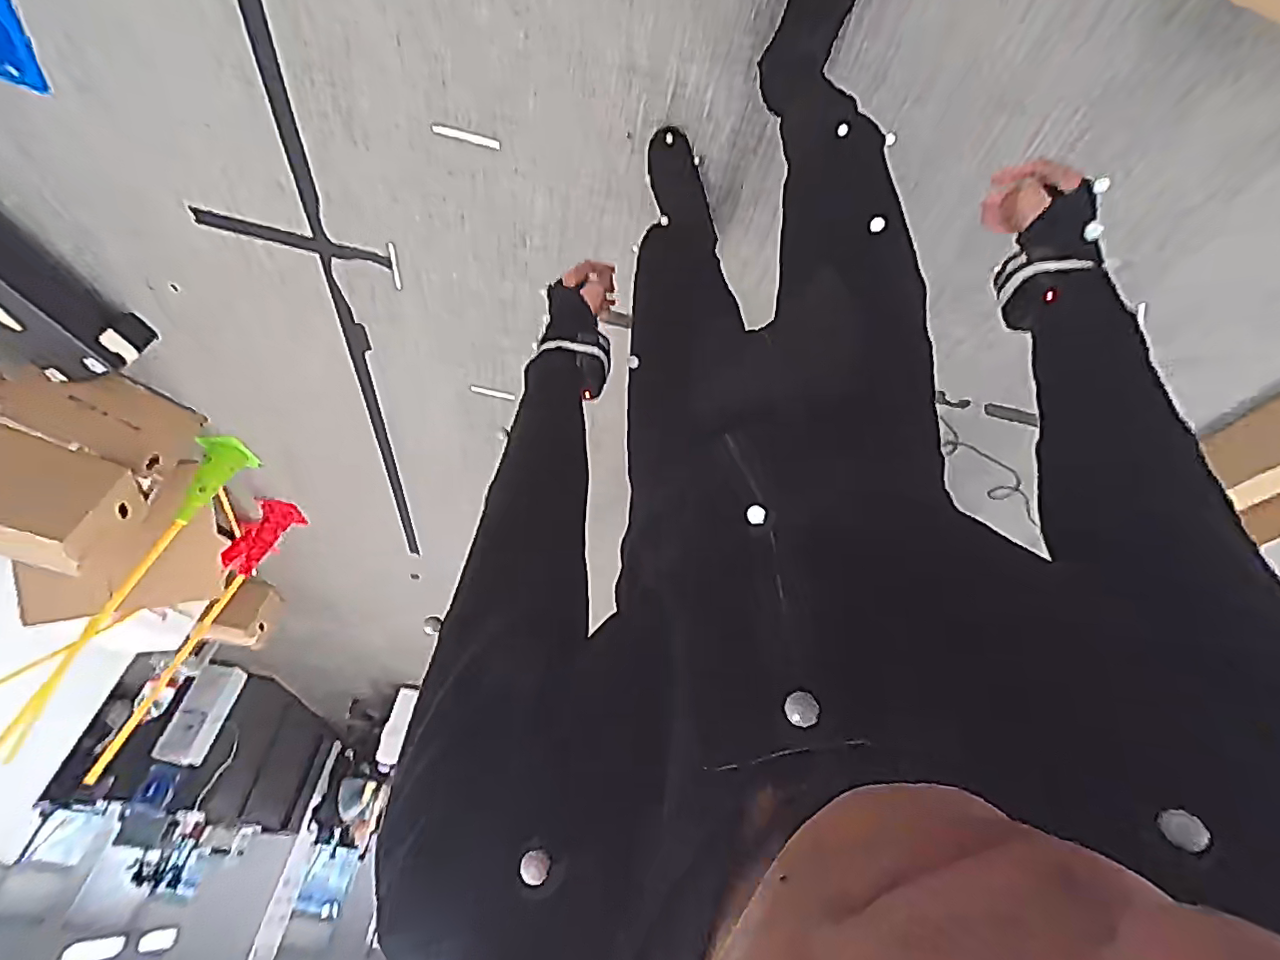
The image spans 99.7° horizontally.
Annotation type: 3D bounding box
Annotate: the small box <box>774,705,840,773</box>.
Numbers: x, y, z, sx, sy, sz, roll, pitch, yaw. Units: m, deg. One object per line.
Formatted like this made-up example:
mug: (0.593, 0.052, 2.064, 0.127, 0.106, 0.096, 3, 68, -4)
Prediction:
small box: (0.558, 0.879, 1.837, 0.168, 0.176, 0.179, 8, 142, -1)

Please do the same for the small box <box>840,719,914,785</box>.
small box: (0.814, 0.941, 1.873, 0.179, 0.176, 0.168, 6, 141, 2)

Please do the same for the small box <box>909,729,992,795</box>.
small box: (1.071, 0.982, 1.886, 0.168, 0.176, 0.179, 15, 141, -8)
